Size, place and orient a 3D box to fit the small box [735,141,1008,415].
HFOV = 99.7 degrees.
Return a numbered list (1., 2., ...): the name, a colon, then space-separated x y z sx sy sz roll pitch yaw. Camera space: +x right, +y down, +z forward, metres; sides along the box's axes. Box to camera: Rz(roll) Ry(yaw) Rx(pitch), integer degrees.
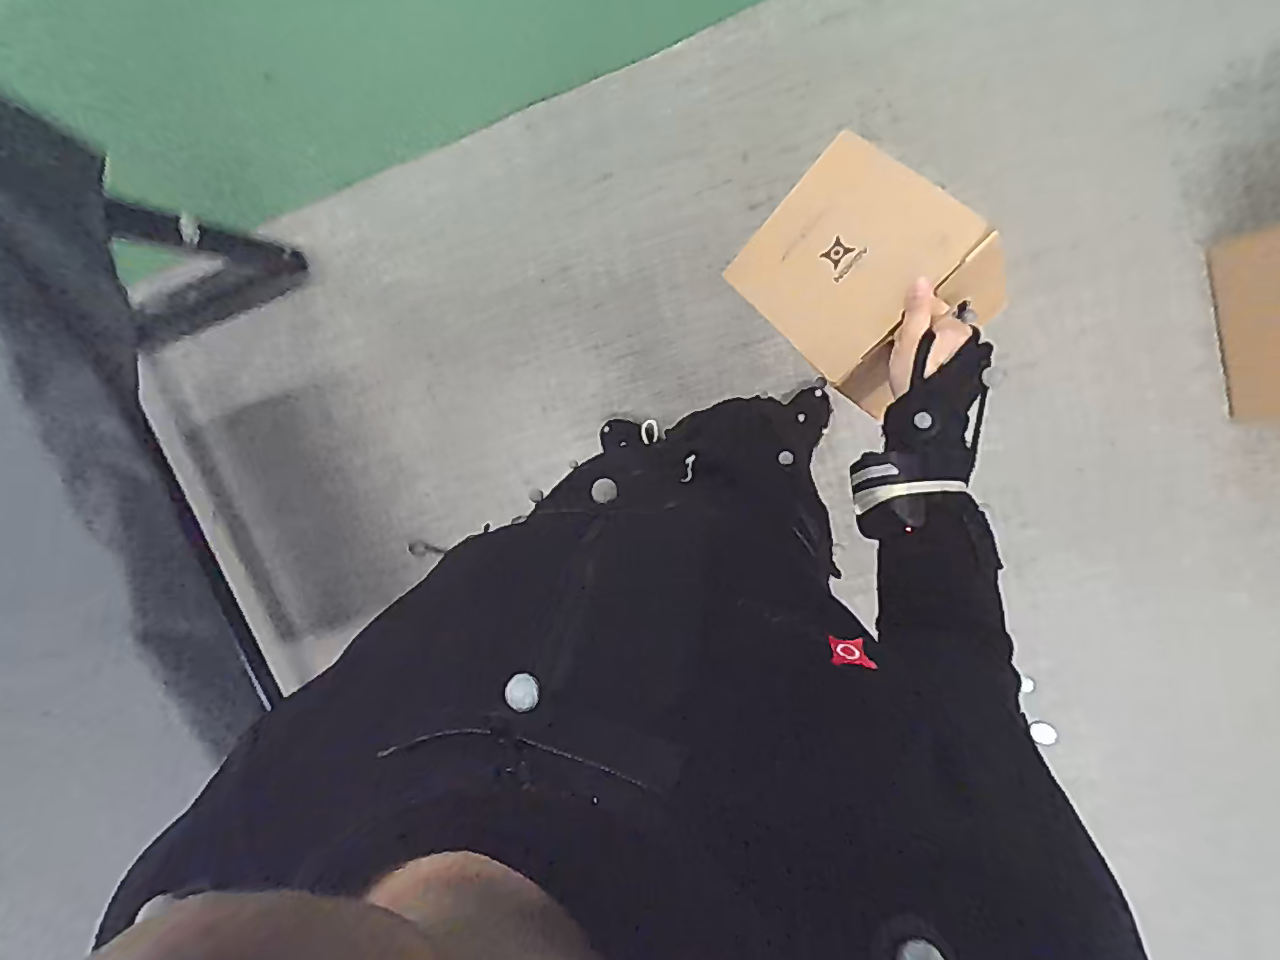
1. small box: 0.237 -0.184 0.546 0.168 0.176 0.179 -45 60 21
